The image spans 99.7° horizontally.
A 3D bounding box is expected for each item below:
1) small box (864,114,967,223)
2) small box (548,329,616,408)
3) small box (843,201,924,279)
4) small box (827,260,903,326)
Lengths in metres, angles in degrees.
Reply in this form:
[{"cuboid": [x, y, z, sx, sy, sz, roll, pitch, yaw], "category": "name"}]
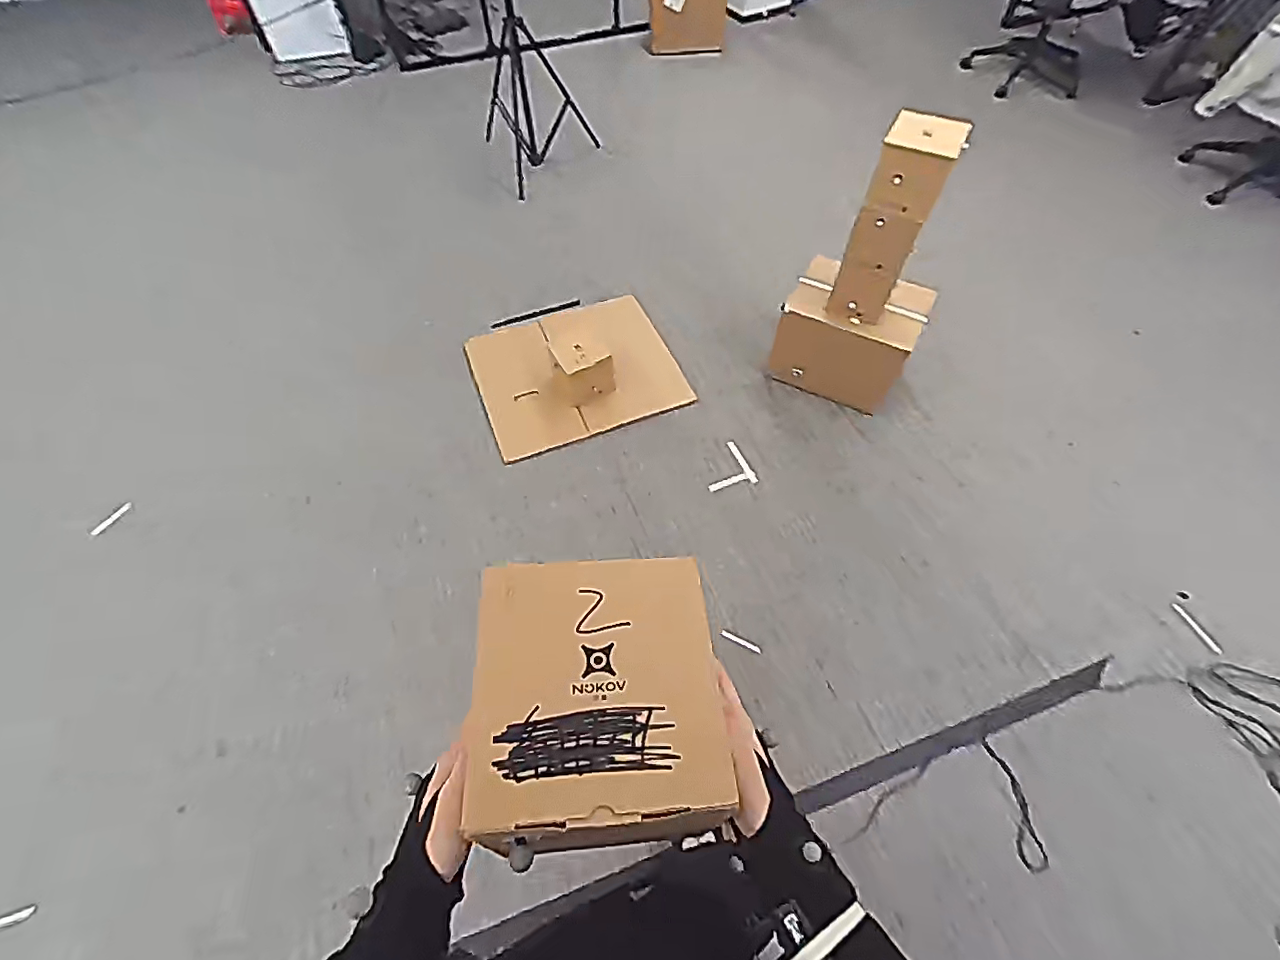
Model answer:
[{"cuboid": [0.682, -0.777, 1.357, 0.168, 0.176, 0.179, 24, 61, 15], "category": "small box"}, {"cuboid": [-0.198, -0.381, 1.864, 0.168, 0.176, 0.179, -28, 62, -13], "category": "small box"}, {"cuboid": [0.683, -0.693, 1.496, 0.168, 0.176, 0.179, 24, 60, 16], "category": "small box"}, {"cuboid": [0.684, -0.603, 1.633, 0.168, 0.176, 0.179, 24, 62, 15], "category": "small box"}]
